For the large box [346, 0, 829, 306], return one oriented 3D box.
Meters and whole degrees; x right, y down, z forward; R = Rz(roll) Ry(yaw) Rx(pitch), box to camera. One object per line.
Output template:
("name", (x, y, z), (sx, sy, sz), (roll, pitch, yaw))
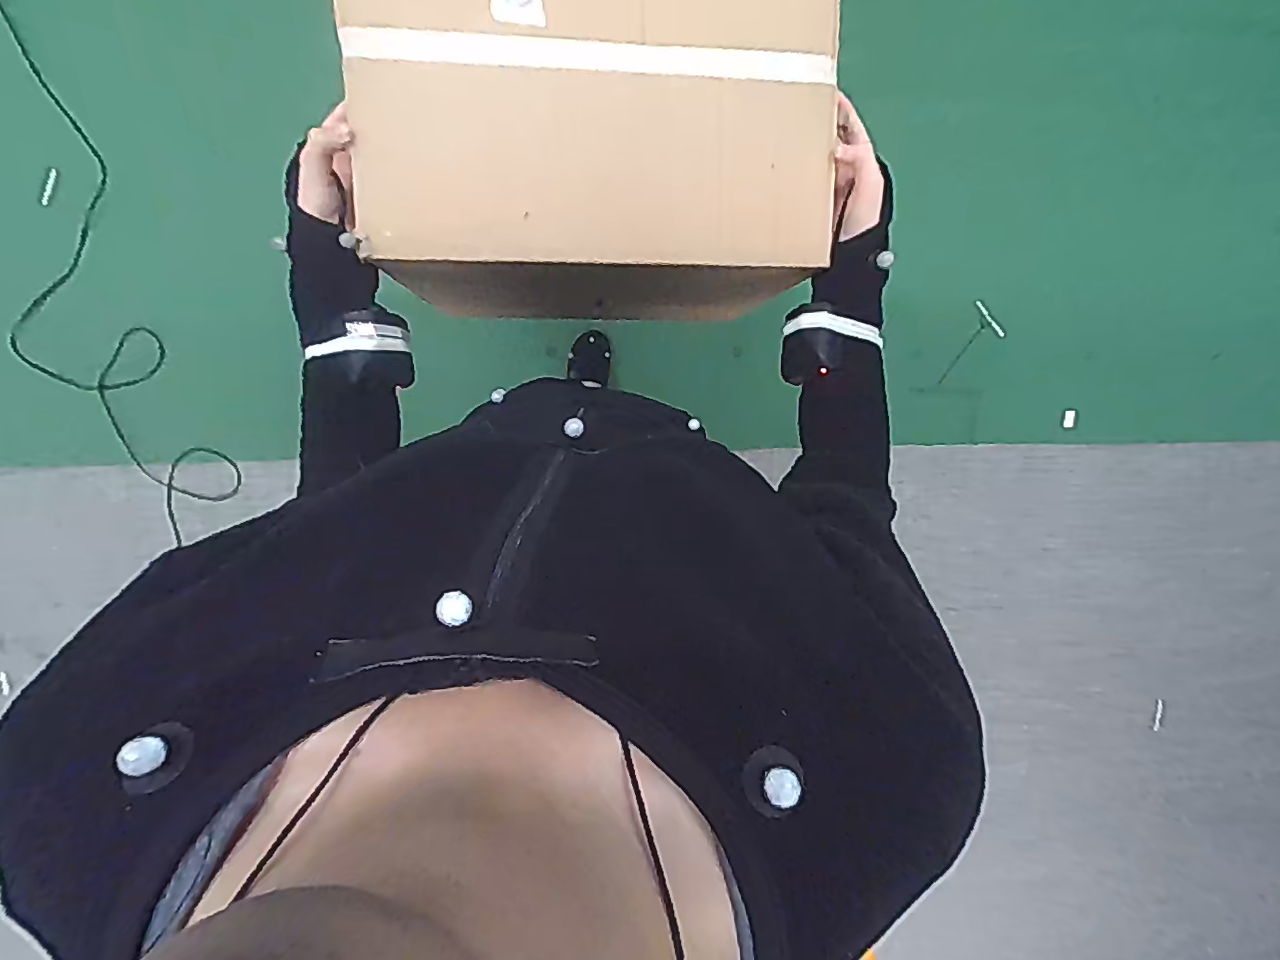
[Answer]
("large box", (-0.049, -0.371, 0.597), (0.408, 0.320, 0.320), (-1, 99, -6))
